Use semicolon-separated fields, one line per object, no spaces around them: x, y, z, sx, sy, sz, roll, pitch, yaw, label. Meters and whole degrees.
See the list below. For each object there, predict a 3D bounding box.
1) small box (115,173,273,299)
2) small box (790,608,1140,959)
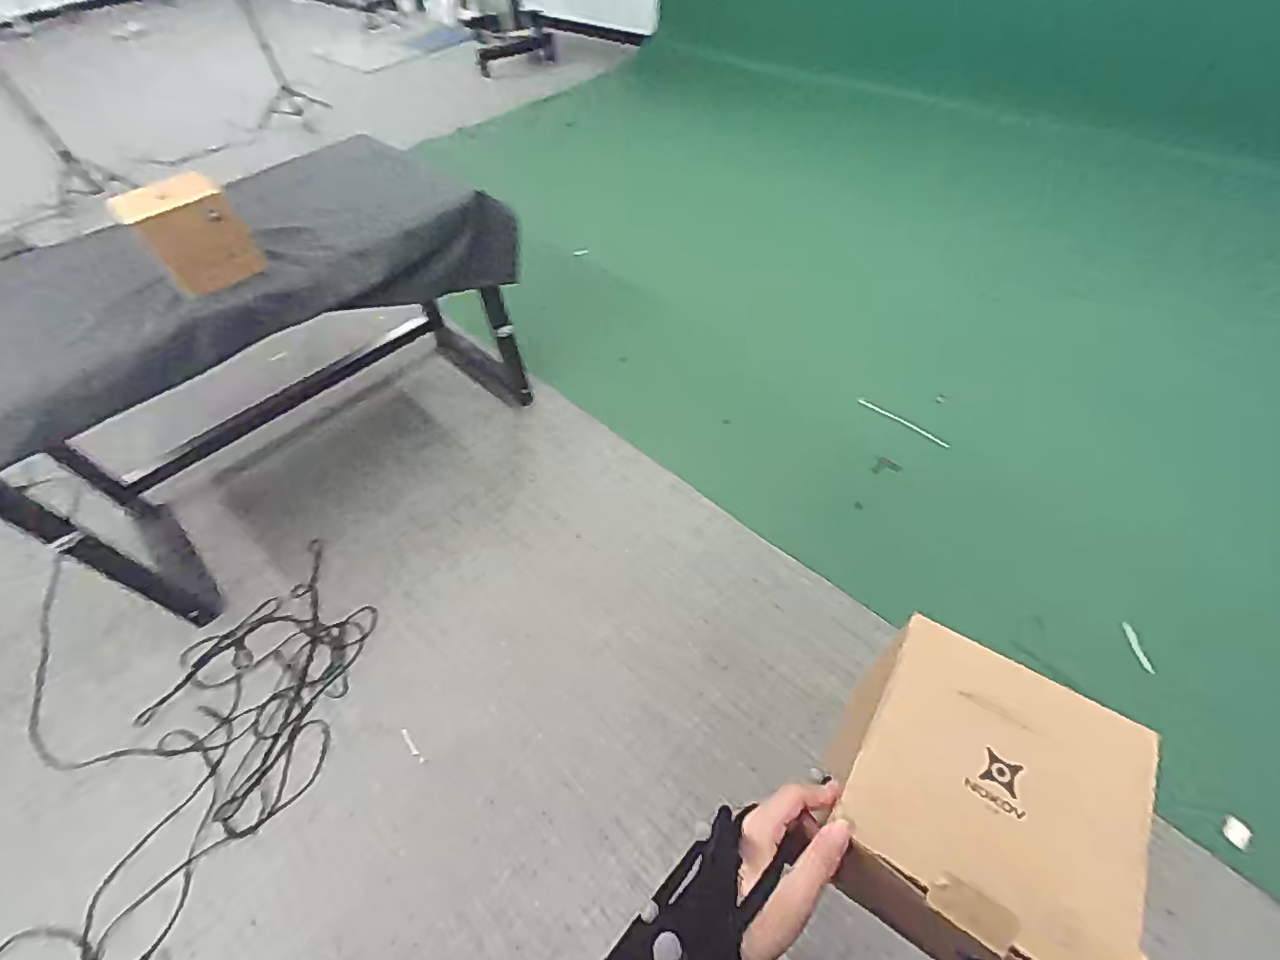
-0.927;-0.510;1.136;0.179;0.176;0.168;-39;59;-24;small box
0.230;0.240;0.418;0.168;0.176;0.179;26;56;21;small box
